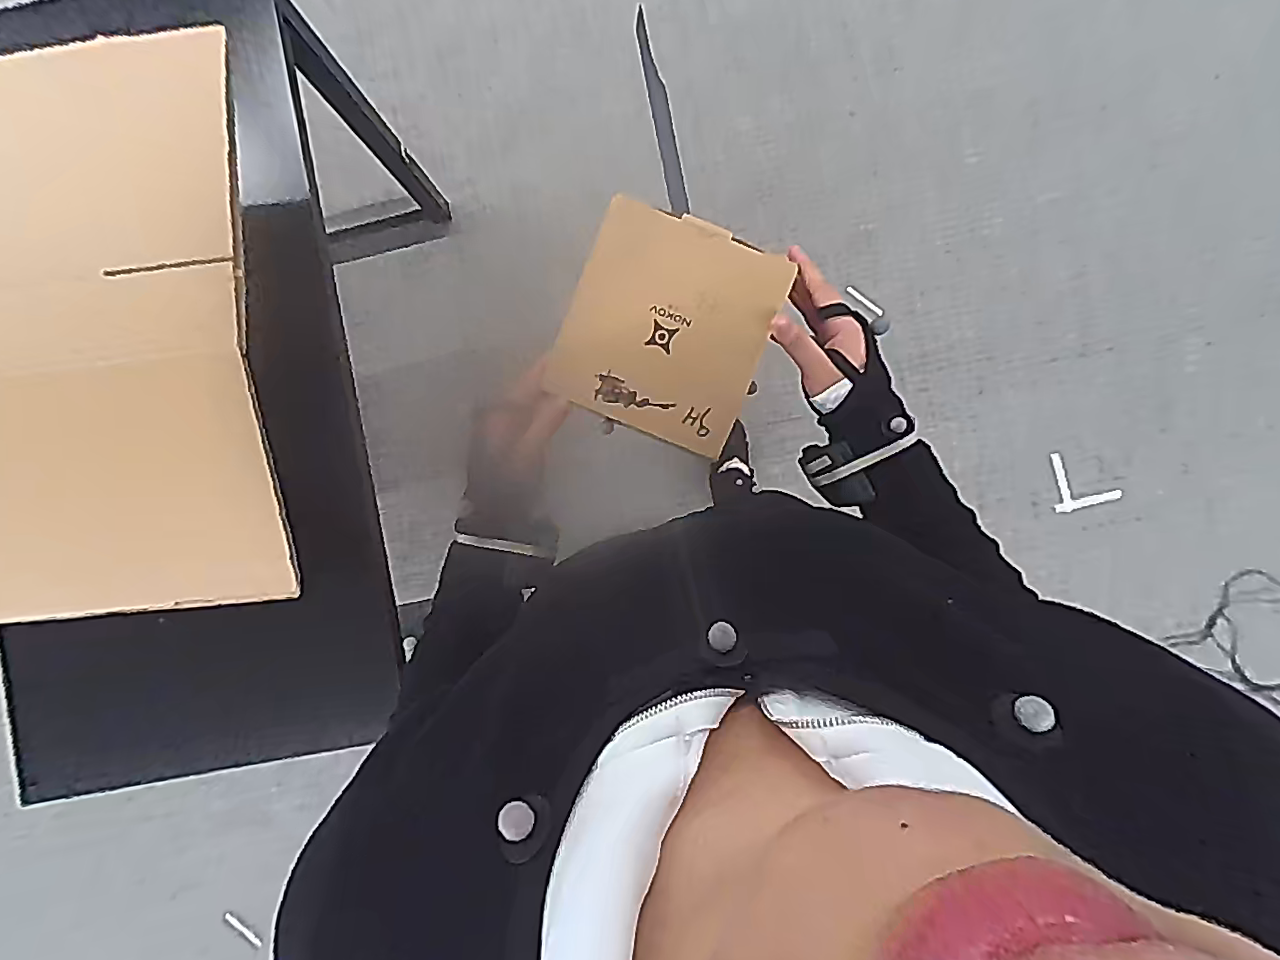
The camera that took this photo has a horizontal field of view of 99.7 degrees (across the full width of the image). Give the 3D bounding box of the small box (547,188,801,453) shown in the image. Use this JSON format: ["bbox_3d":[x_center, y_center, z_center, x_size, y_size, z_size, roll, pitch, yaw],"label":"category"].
[{"bbox_3d":[0.031,-0.136,0.530,0.168,0.176,0.179,23,93,3],"label":"small box"}]
